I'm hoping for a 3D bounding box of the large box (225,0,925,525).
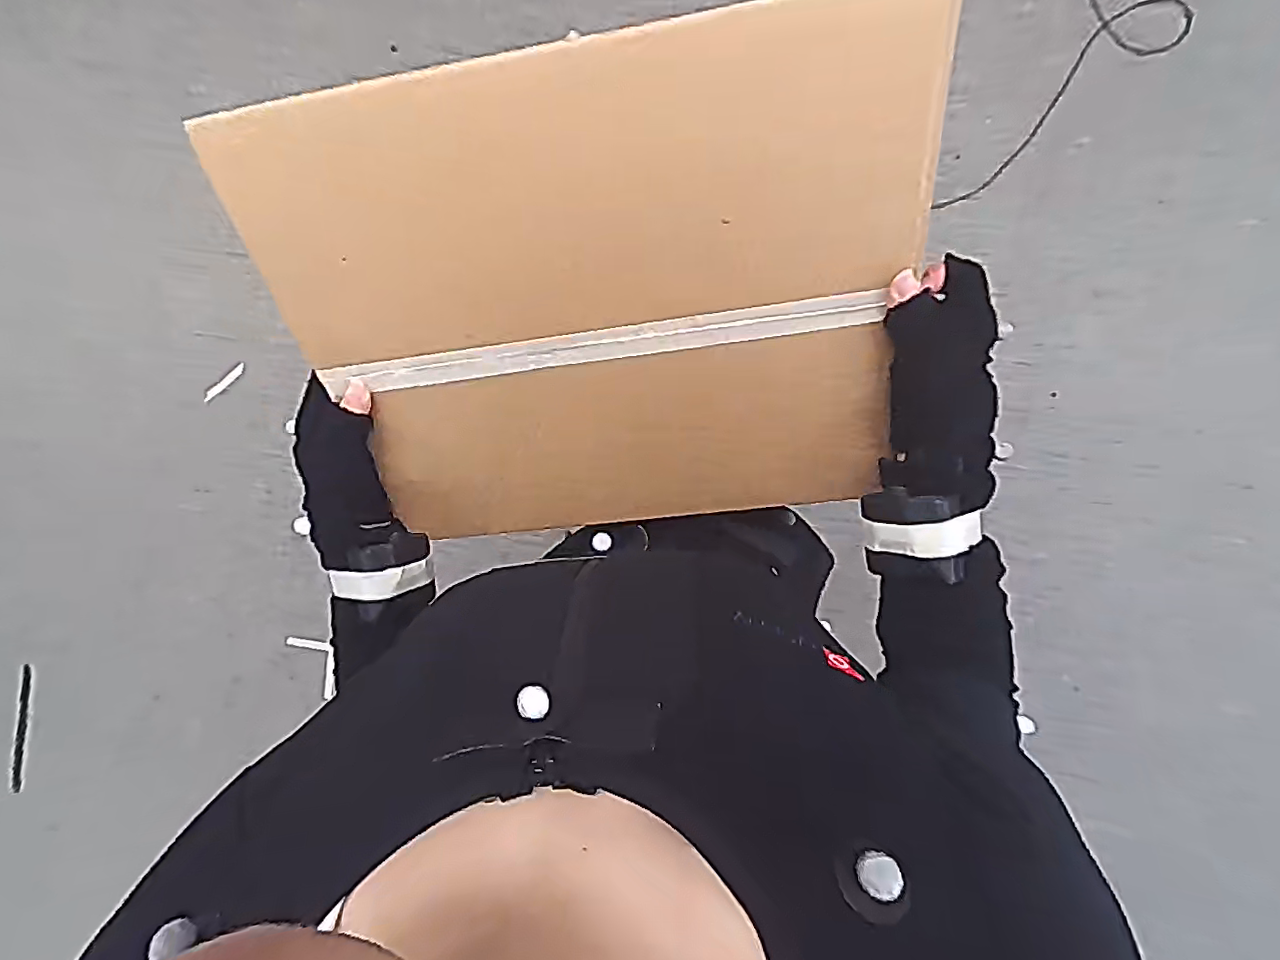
[{"bbox_3d":[-0.021,-0.190,0.497,0.408,0.320,0.320,-6,126,7],"label":"large box"}]
